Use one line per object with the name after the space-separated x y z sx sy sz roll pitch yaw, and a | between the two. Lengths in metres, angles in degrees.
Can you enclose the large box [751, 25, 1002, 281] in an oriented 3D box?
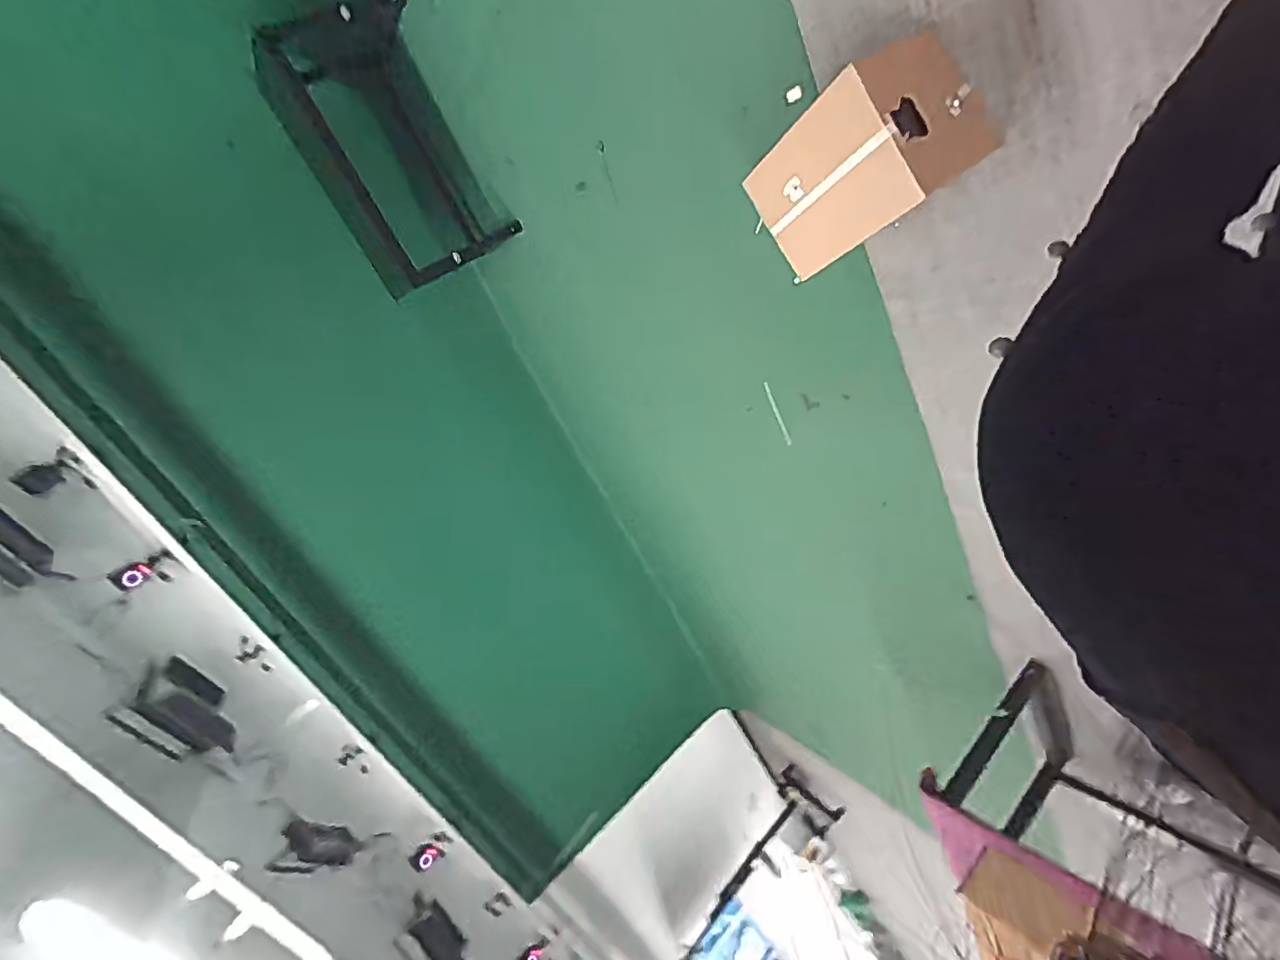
0.559 -0.772 1.328 0.320 0.320 0.408 57 159 -7 | large box
